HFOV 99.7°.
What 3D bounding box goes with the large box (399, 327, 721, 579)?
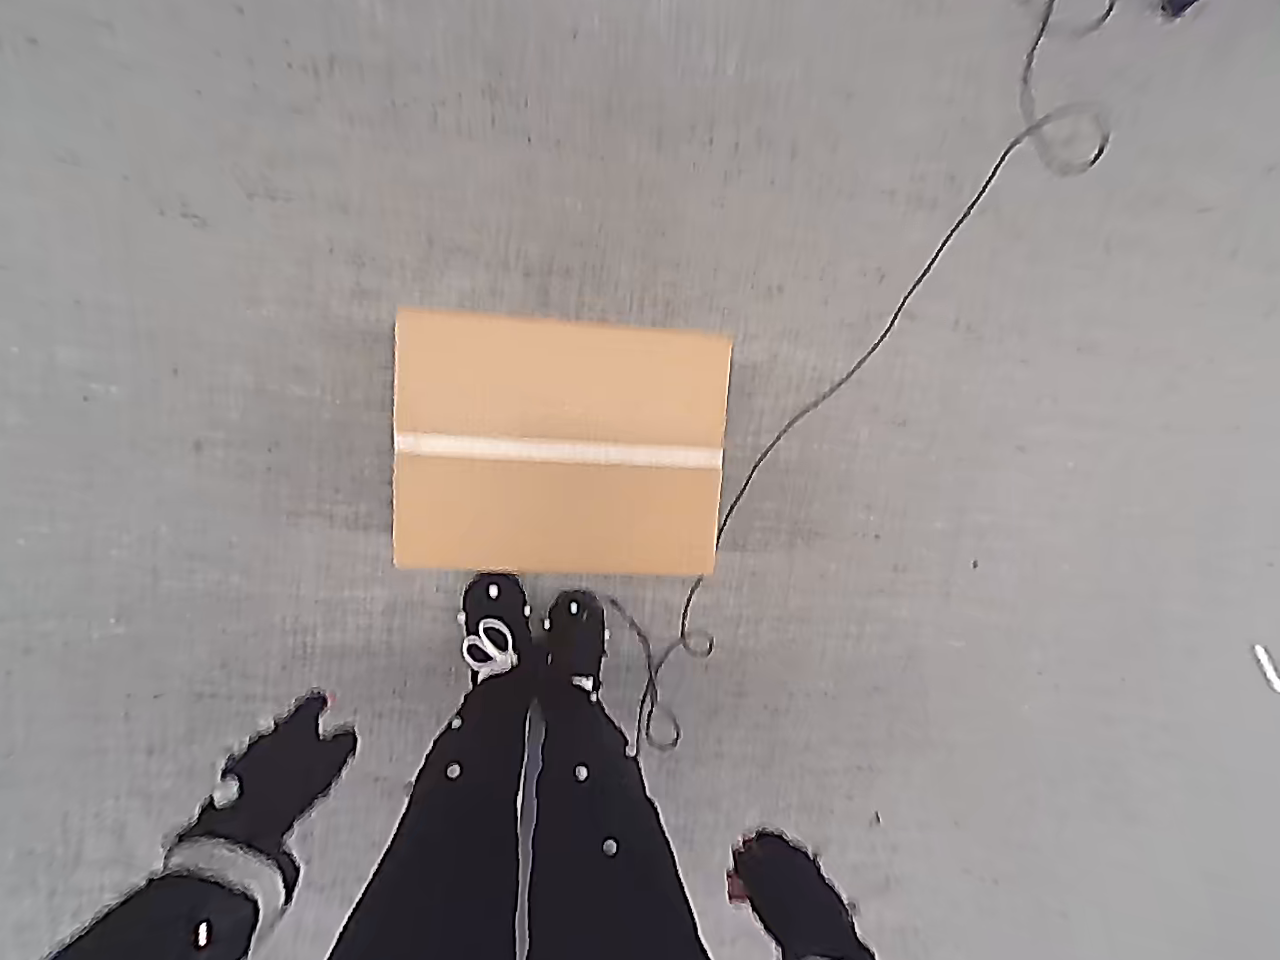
[{"bbox_3d":[-0.114,-0.044,0.831,0.408,0.320,0.320,2,96,-8],"label":"large box"}]
